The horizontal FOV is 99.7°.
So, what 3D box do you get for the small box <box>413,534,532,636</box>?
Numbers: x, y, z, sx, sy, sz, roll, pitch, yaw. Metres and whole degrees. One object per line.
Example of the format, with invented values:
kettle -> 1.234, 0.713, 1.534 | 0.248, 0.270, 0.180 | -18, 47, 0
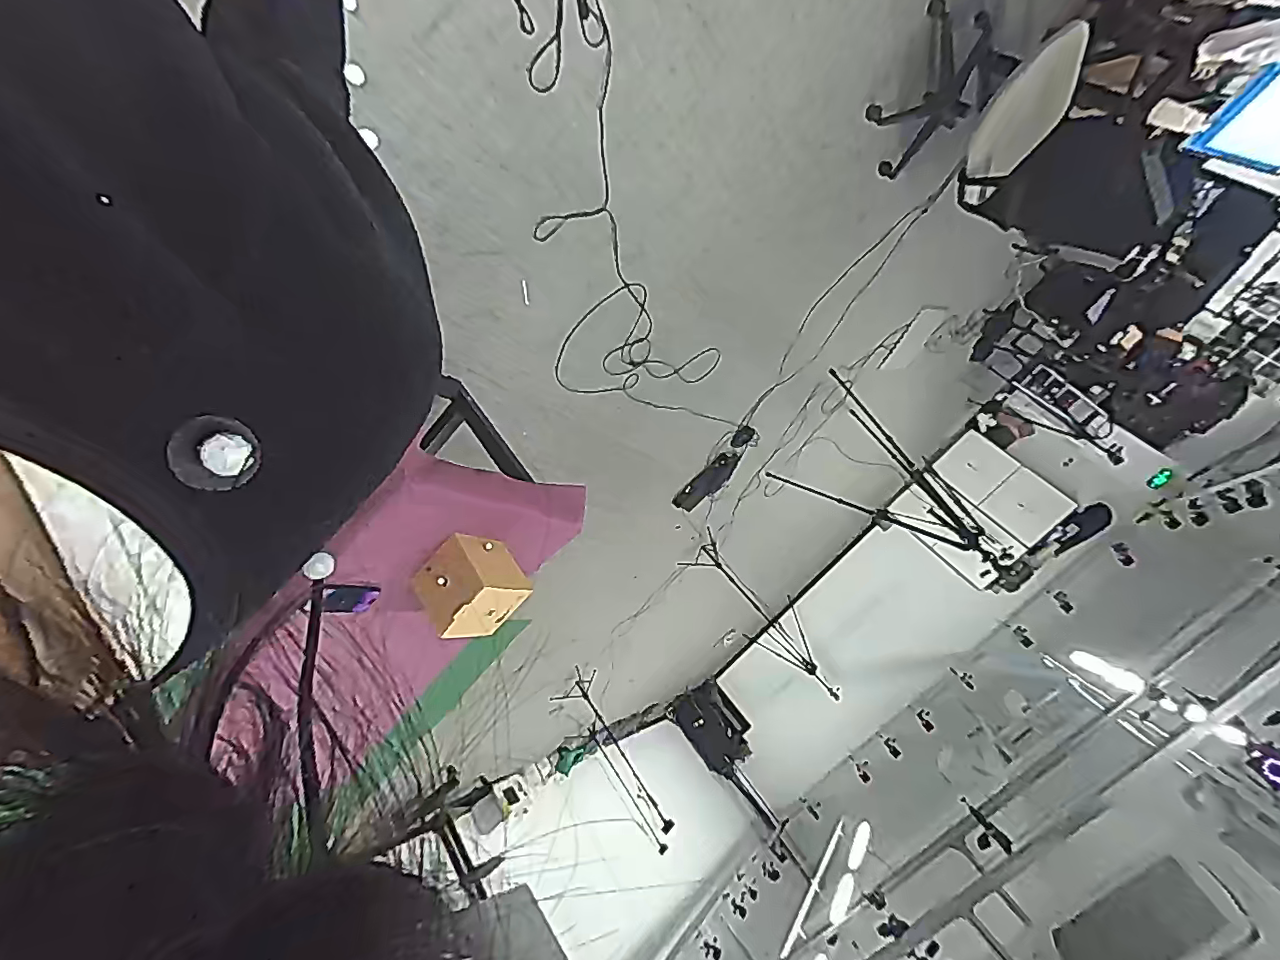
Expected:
small box -> -0.399, 0.248, 1.279 | 0.168, 0.176, 0.179 | -46, 151, 9
